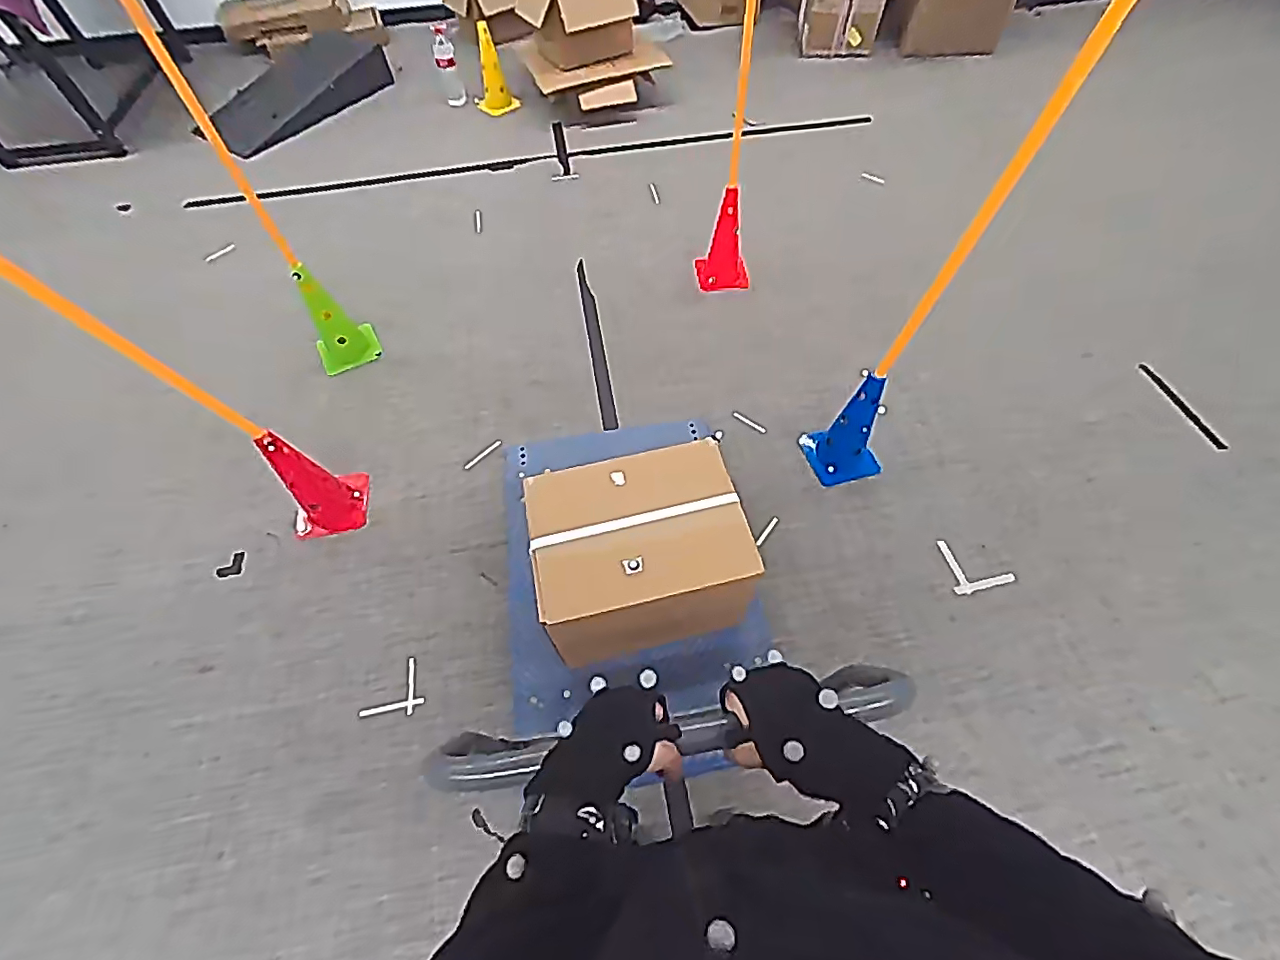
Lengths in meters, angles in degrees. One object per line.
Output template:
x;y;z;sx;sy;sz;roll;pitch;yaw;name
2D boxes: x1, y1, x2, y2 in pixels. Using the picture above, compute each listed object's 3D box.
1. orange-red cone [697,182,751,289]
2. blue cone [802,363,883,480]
0.328;-0.914;1.993;0.199;0.360;0.198;-3;58;-2;orange-red cone
0.615;-0.177;1.540;0.193;0.380;0.192;-13;57;-7;blue cone
